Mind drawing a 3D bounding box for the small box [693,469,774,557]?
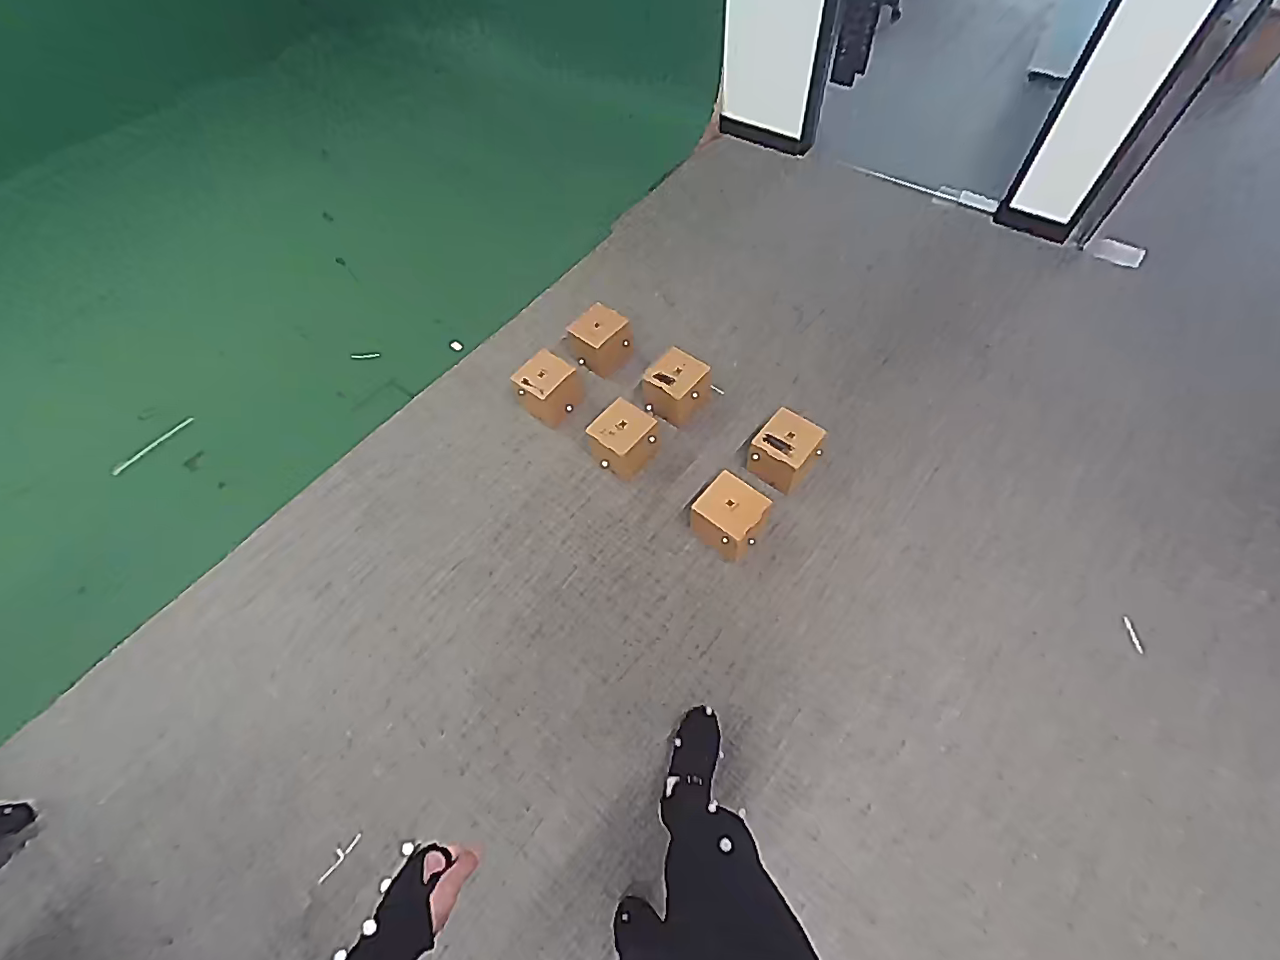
[{"bbox_3d":[0.274,0.105,1.629,0.179,0.176,0.168,36,70,22],"label":"small box"}]

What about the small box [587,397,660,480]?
[{"bbox_3d":[-0.049,-0.134,1.795,0.168,0.176,0.179,35,69,22],"label":"small box"}]

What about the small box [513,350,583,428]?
[{"bbox_3d":[-0.321,-0.323,1.930,0.168,0.176,0.179,34,68,22],"label":"small box"}]

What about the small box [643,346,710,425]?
[{"bbox_3d":[0.131,-0.324,1.886,0.168,0.176,0.179,36,69,22],"label":"small box"}]
